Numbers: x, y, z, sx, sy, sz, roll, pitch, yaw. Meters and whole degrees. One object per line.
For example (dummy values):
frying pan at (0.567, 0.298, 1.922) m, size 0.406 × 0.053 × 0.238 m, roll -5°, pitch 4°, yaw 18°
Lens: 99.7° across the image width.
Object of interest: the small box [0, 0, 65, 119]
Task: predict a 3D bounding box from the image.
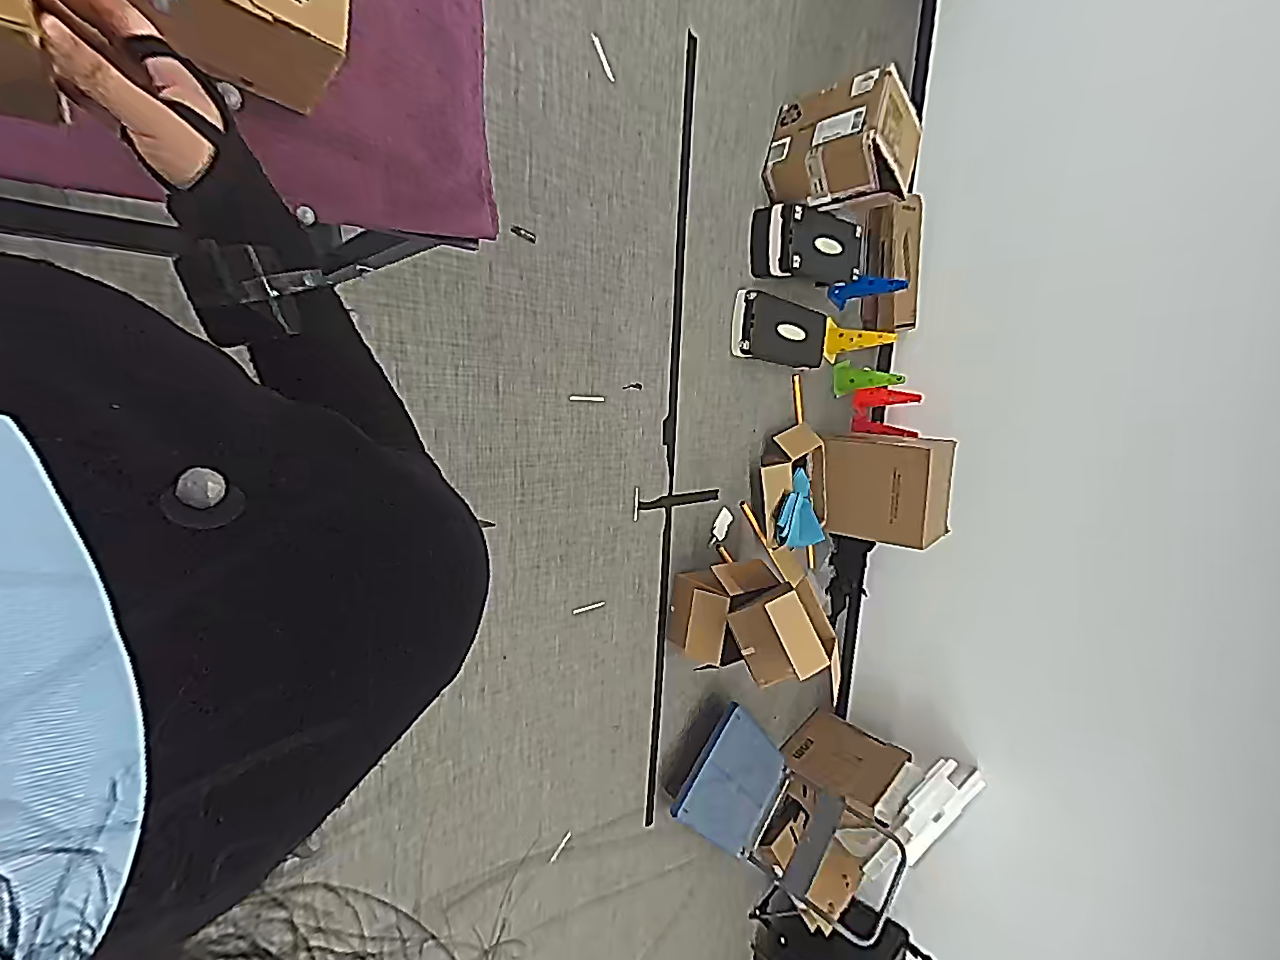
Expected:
small box at (-0.410, -0.311, 0.255) m, size 0.168 × 0.176 × 0.179 m, roll -11°, pitch 109°, yaw -41°
